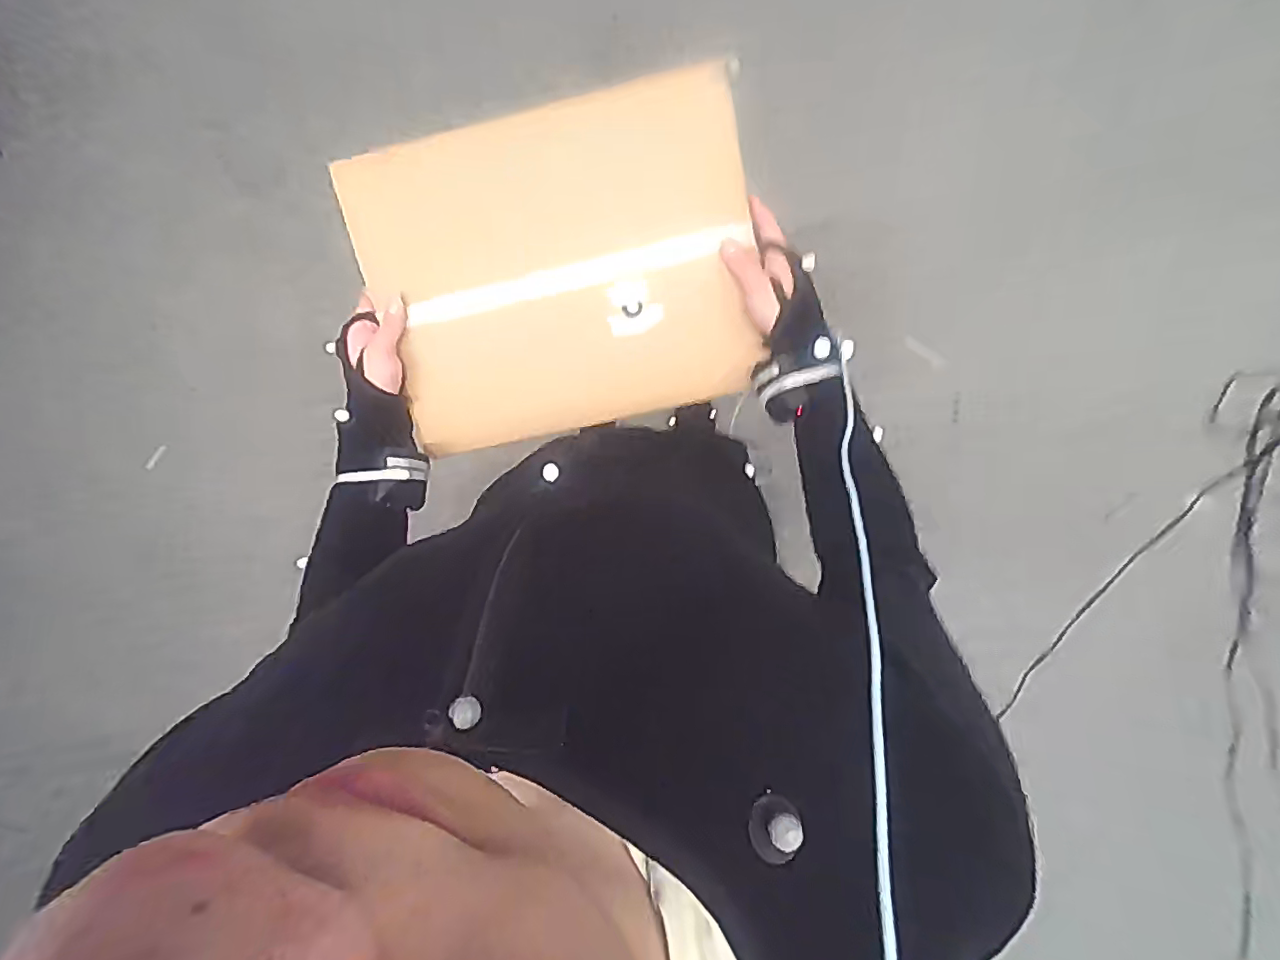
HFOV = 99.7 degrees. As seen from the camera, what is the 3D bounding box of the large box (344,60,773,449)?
[{"bbox_3d":[-0.079,-0.258,0.719,0.408,0.320,0.320,-13,105,3],"label":"large box"}]
